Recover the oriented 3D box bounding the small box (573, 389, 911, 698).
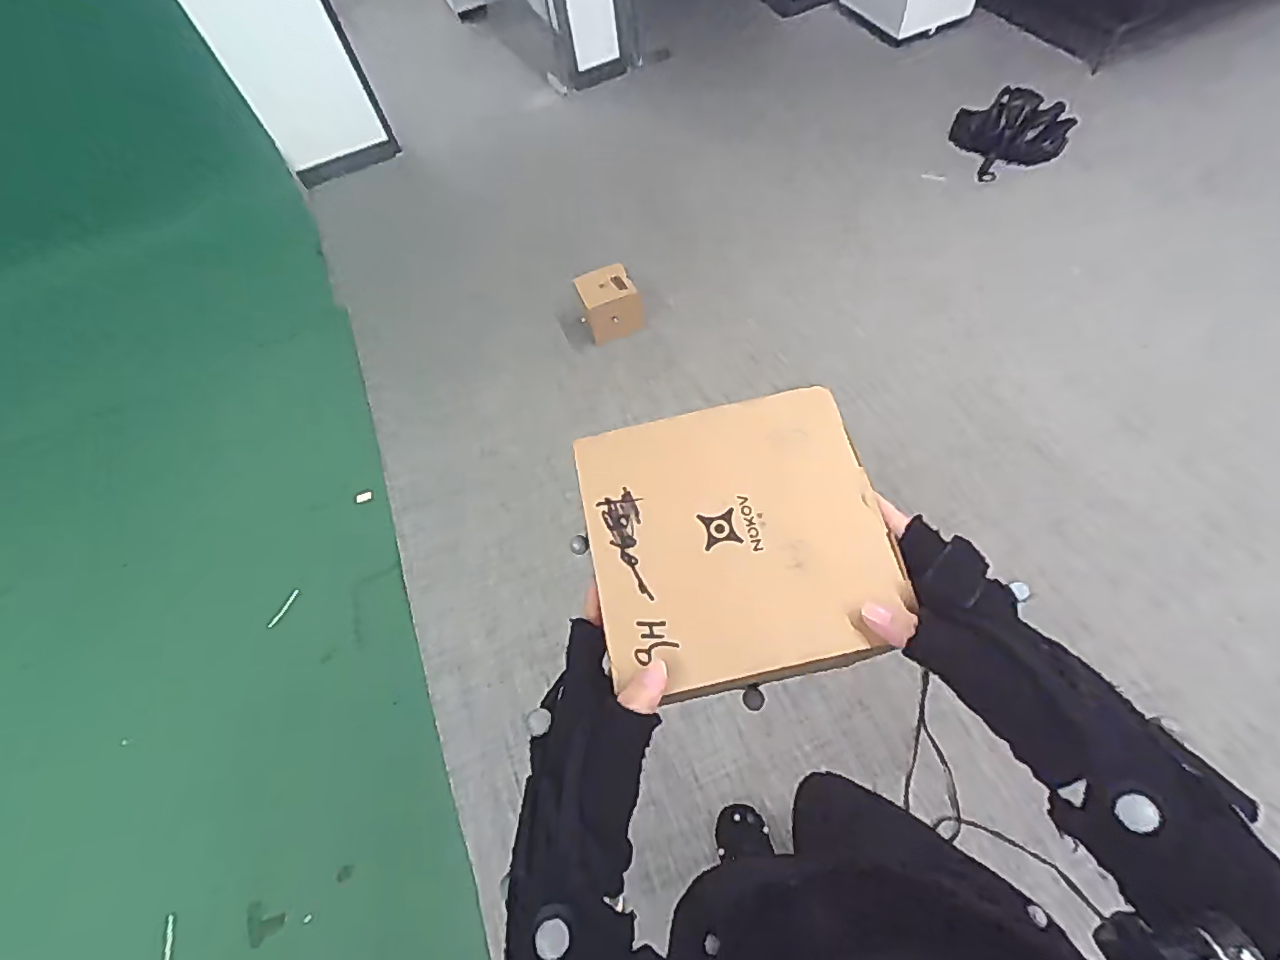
[{"bbox_3d":[0.057,0.059,0.403,0.179,0.176,0.168,-11,65,-1],"label":"small box"}]

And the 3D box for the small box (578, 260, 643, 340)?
[{"bbox_3d":[-0.096,-0.615,1.856,0.179,0.176,0.168,-19,59,-3],"label":"small box"}]
